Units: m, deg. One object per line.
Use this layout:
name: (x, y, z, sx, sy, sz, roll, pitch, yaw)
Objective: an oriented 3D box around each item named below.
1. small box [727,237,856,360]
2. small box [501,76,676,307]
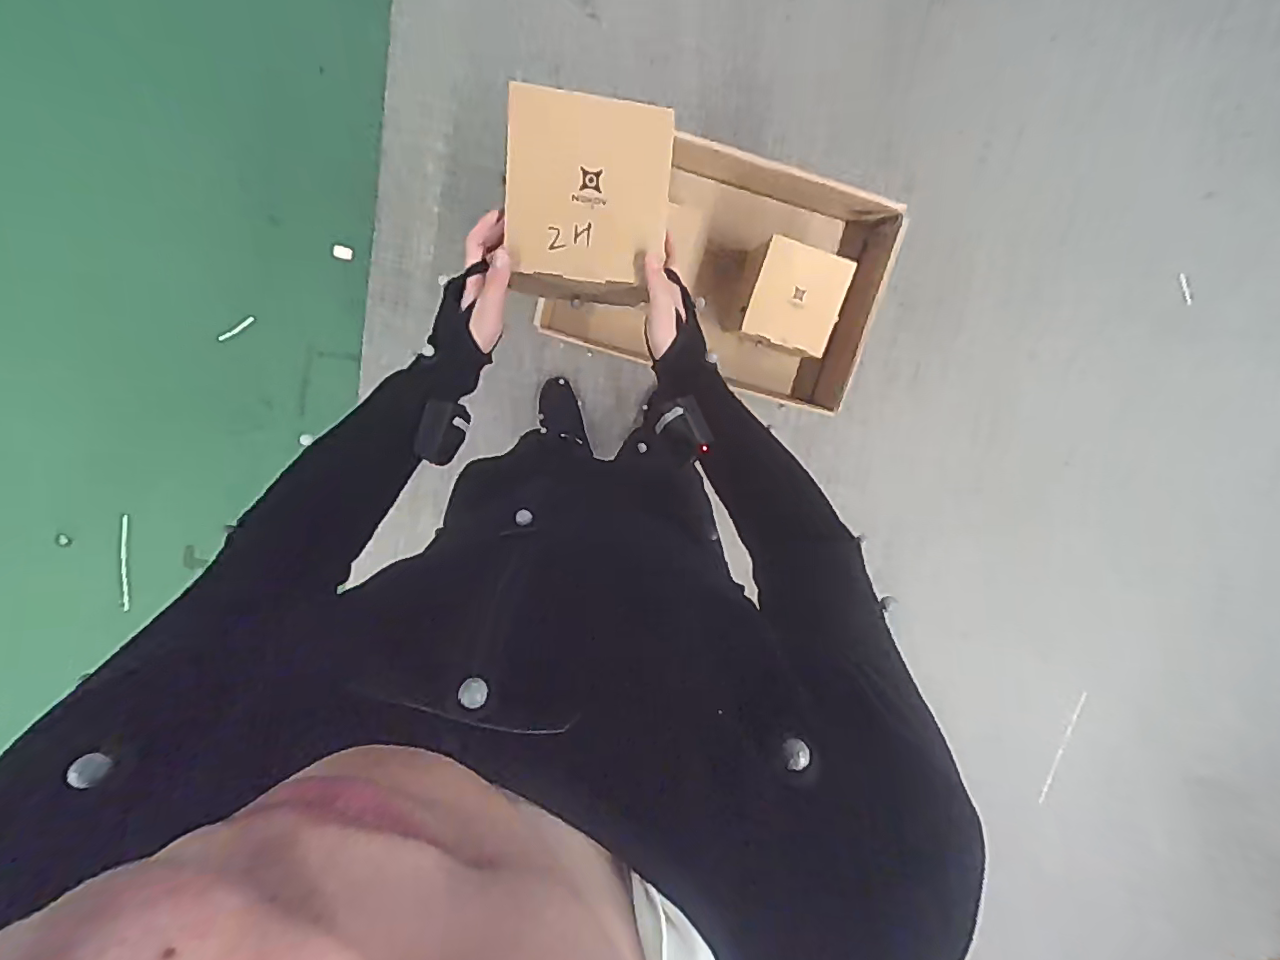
small box: (0.281, -0.344, 1.052, 0.168, 0.176, 0.179, 17, 103, -7)
small box: (-0.066, -0.304, 0.612, 0.168, 0.176, 0.179, 3, 100, -11)
